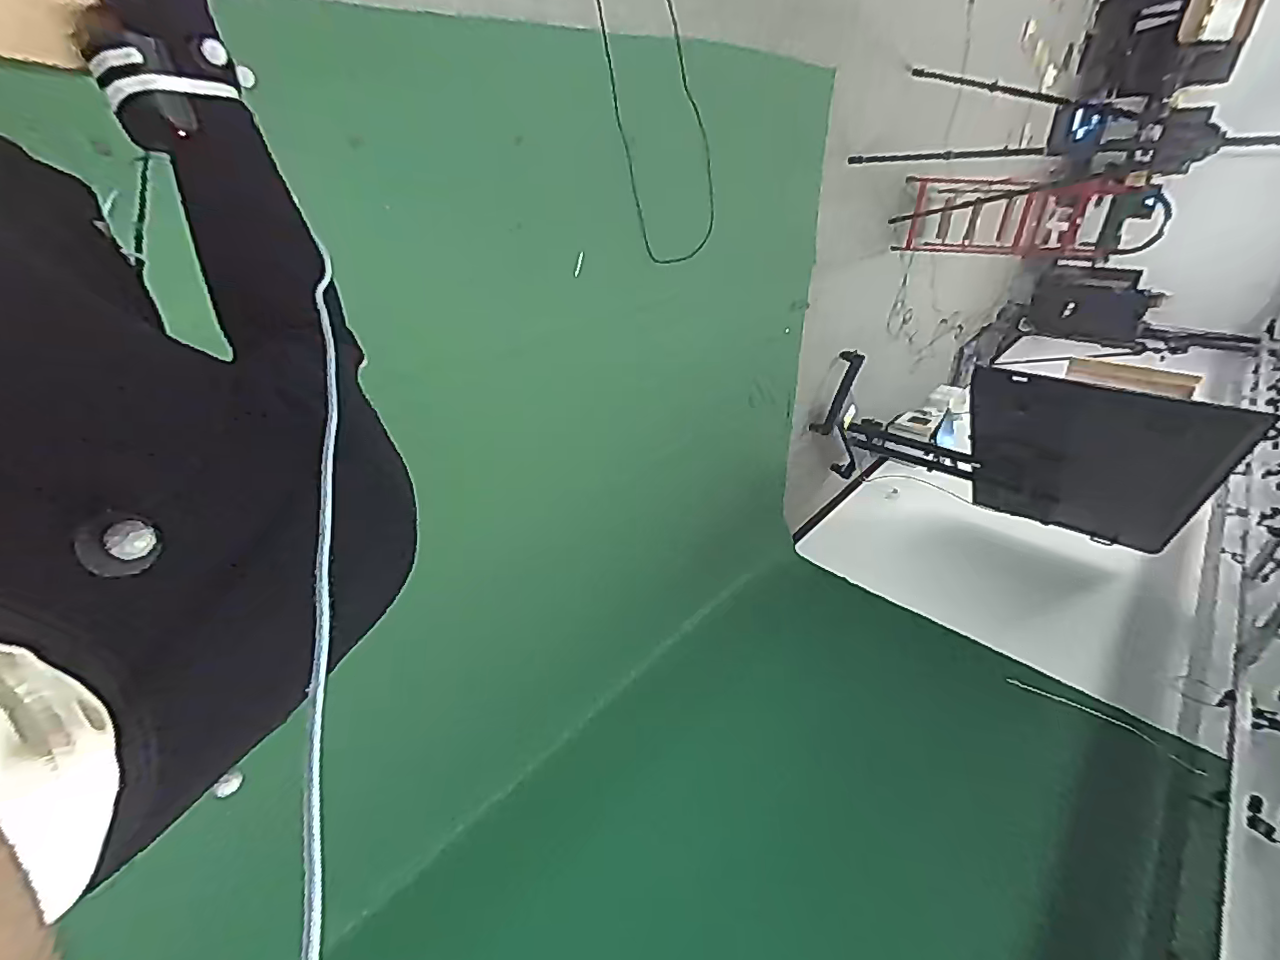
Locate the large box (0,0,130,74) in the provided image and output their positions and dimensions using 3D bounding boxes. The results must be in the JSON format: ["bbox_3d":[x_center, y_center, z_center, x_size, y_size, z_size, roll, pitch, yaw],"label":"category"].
[{"bbox_3d":[-0.618,-0.453,0.293,0.408,0.320,0.320,-23,132,-44],"label":"large box"}]
